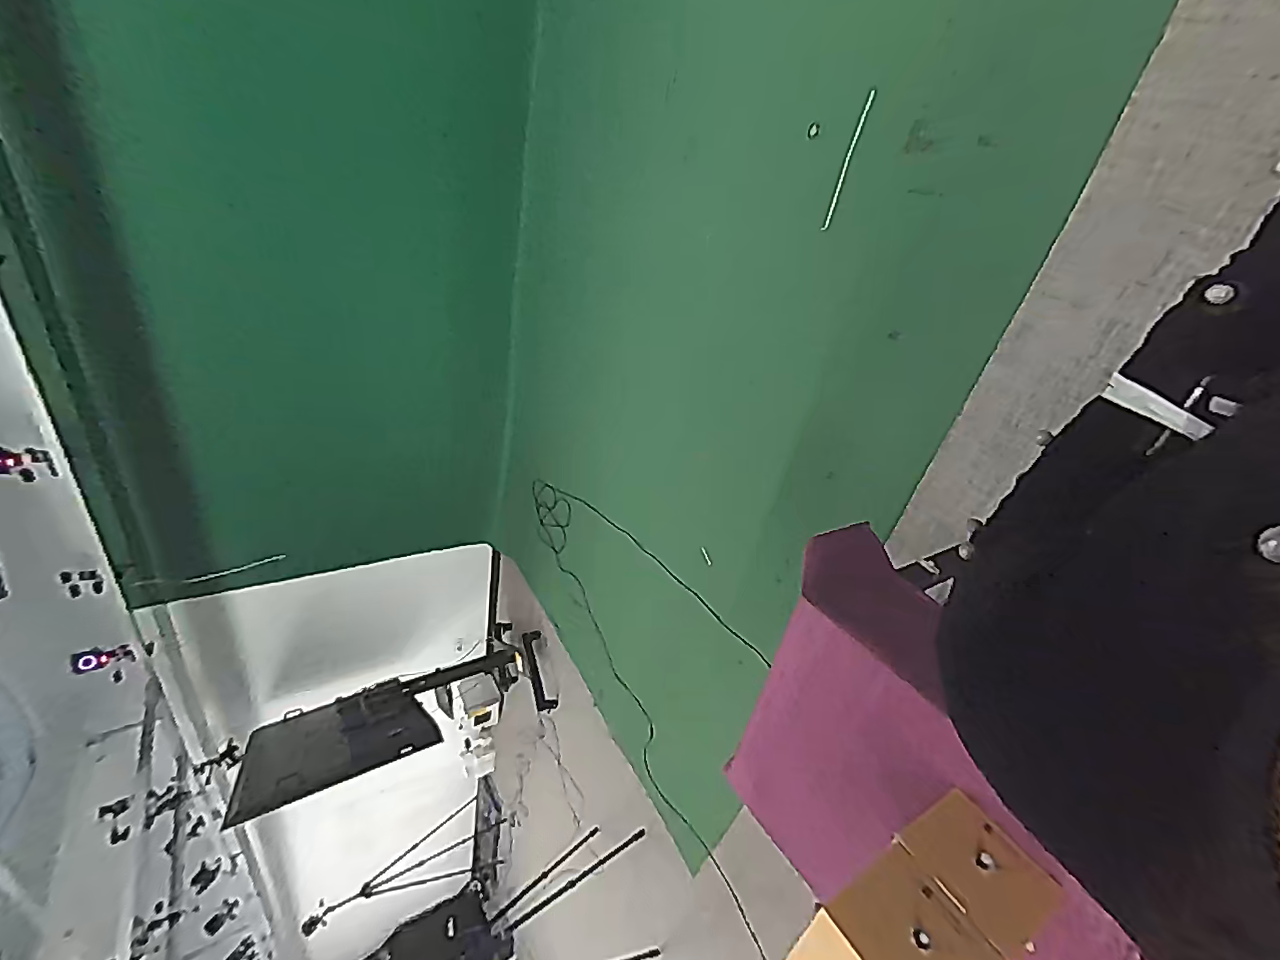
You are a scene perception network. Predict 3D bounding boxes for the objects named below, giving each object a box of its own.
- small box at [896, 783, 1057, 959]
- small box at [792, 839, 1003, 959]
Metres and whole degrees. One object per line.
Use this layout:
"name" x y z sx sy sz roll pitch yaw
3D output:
"small box" 0.475 0.599 0.807 0.168 0.176 0.179 44 132 43
"small box" 0.340 0.626 0.716 0.168 0.176 0.179 43 133 43
